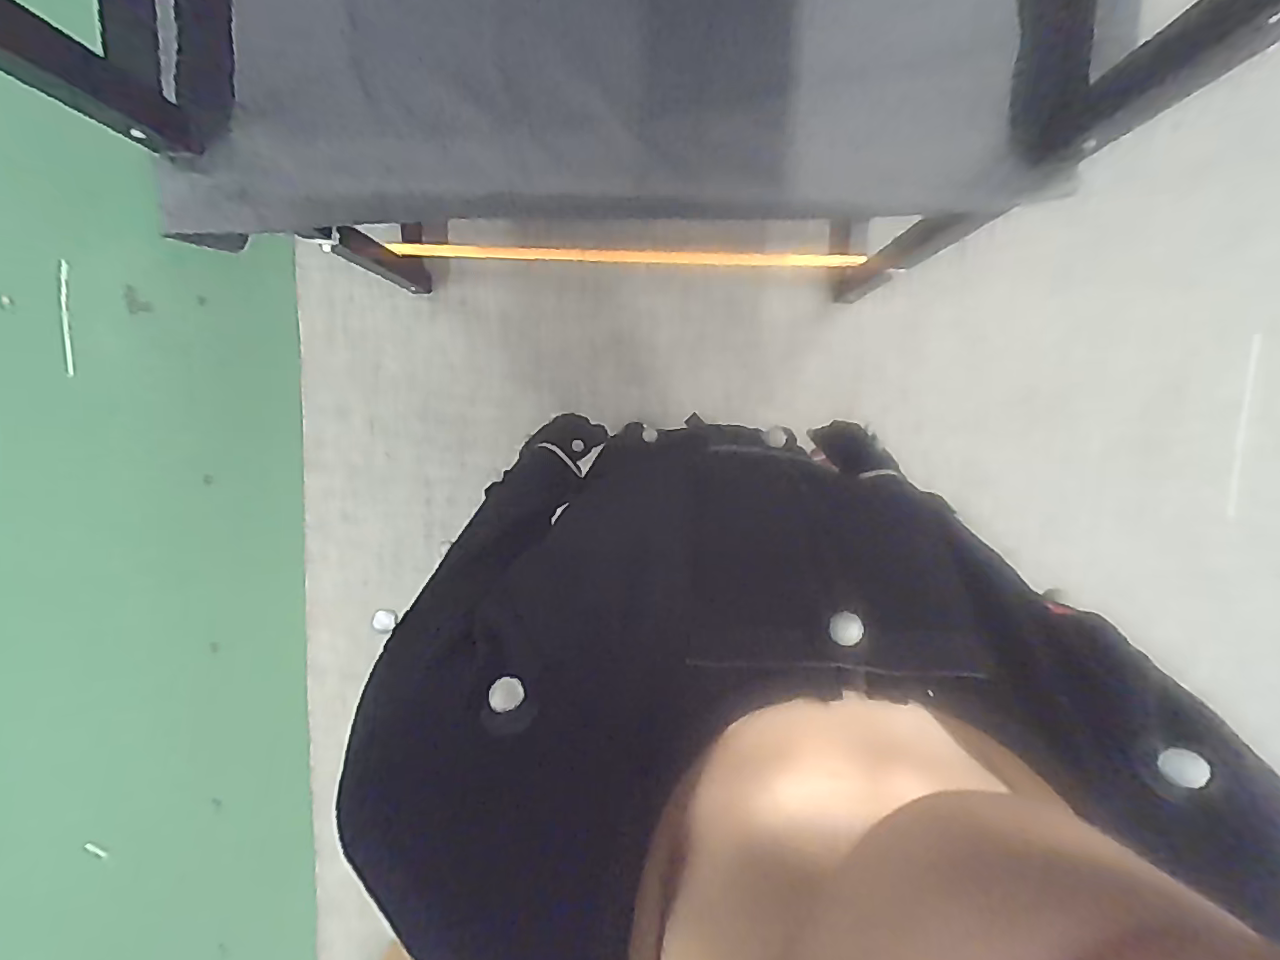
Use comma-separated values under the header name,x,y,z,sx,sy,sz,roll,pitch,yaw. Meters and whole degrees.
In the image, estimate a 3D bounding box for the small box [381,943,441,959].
name,x,y,z,sx,sy,sz,roll,pitch,yaw
small box,-0.695,1.512,1.584,0.168,0.176,0.179,1,96,2
